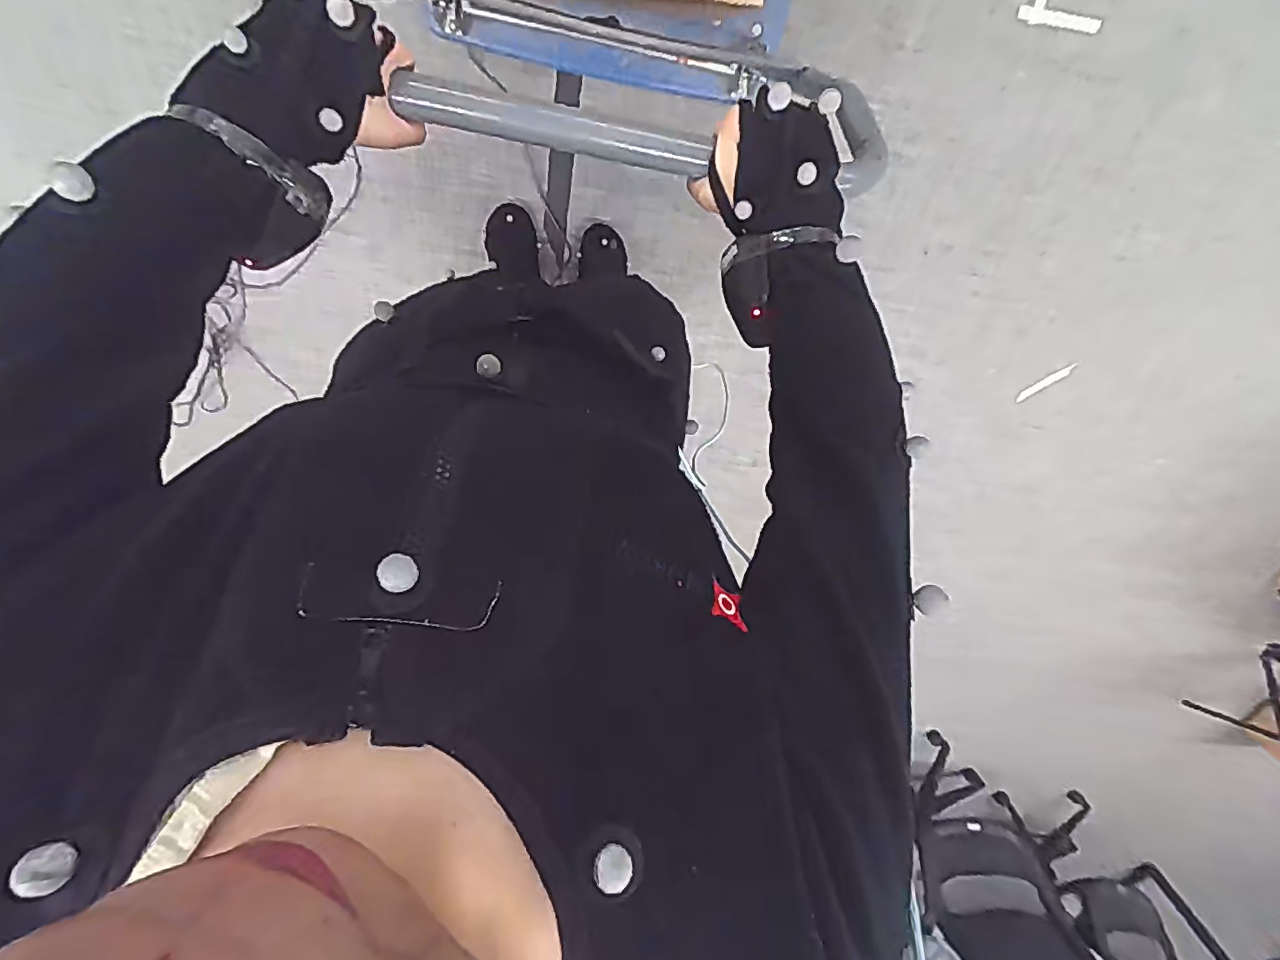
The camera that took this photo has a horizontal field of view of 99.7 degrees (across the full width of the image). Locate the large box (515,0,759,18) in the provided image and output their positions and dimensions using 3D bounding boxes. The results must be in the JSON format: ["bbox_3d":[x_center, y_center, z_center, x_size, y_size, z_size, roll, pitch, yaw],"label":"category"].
[{"bbox_3d":[-0.047,-0.789,0.656,0.408,0.320,0.320,1,128,-6],"label":"large box"}]
